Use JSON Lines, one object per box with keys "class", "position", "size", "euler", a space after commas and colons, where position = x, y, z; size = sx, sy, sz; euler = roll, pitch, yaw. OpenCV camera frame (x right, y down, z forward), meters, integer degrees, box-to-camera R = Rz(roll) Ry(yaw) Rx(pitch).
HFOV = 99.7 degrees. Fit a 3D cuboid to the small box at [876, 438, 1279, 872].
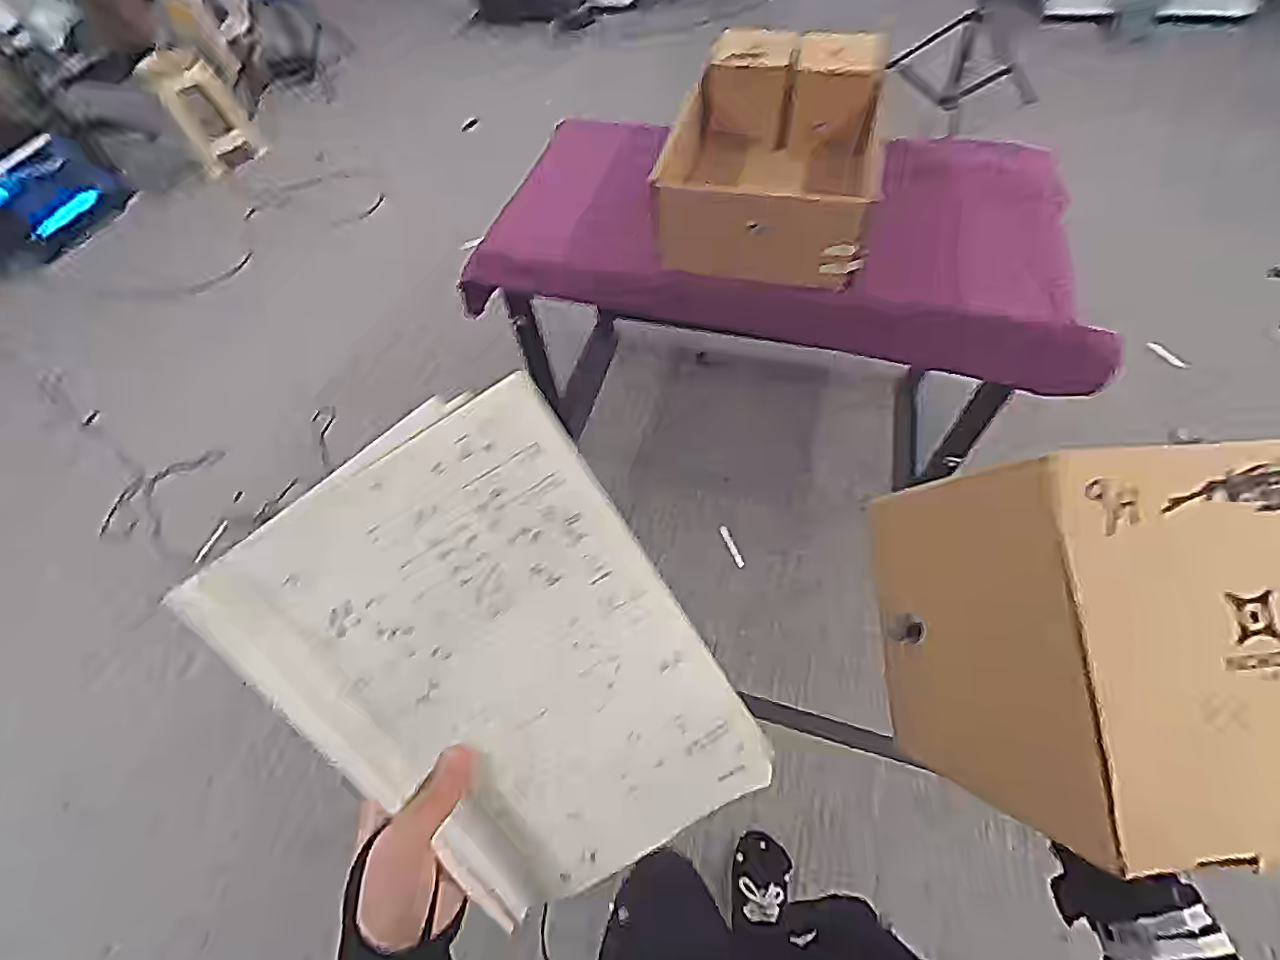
{"class": "small box", "position": [0.261, 0.079, 0.311], "size": [0.168, 0.176, 0.179], "euler": [-2, 81, -6]}
